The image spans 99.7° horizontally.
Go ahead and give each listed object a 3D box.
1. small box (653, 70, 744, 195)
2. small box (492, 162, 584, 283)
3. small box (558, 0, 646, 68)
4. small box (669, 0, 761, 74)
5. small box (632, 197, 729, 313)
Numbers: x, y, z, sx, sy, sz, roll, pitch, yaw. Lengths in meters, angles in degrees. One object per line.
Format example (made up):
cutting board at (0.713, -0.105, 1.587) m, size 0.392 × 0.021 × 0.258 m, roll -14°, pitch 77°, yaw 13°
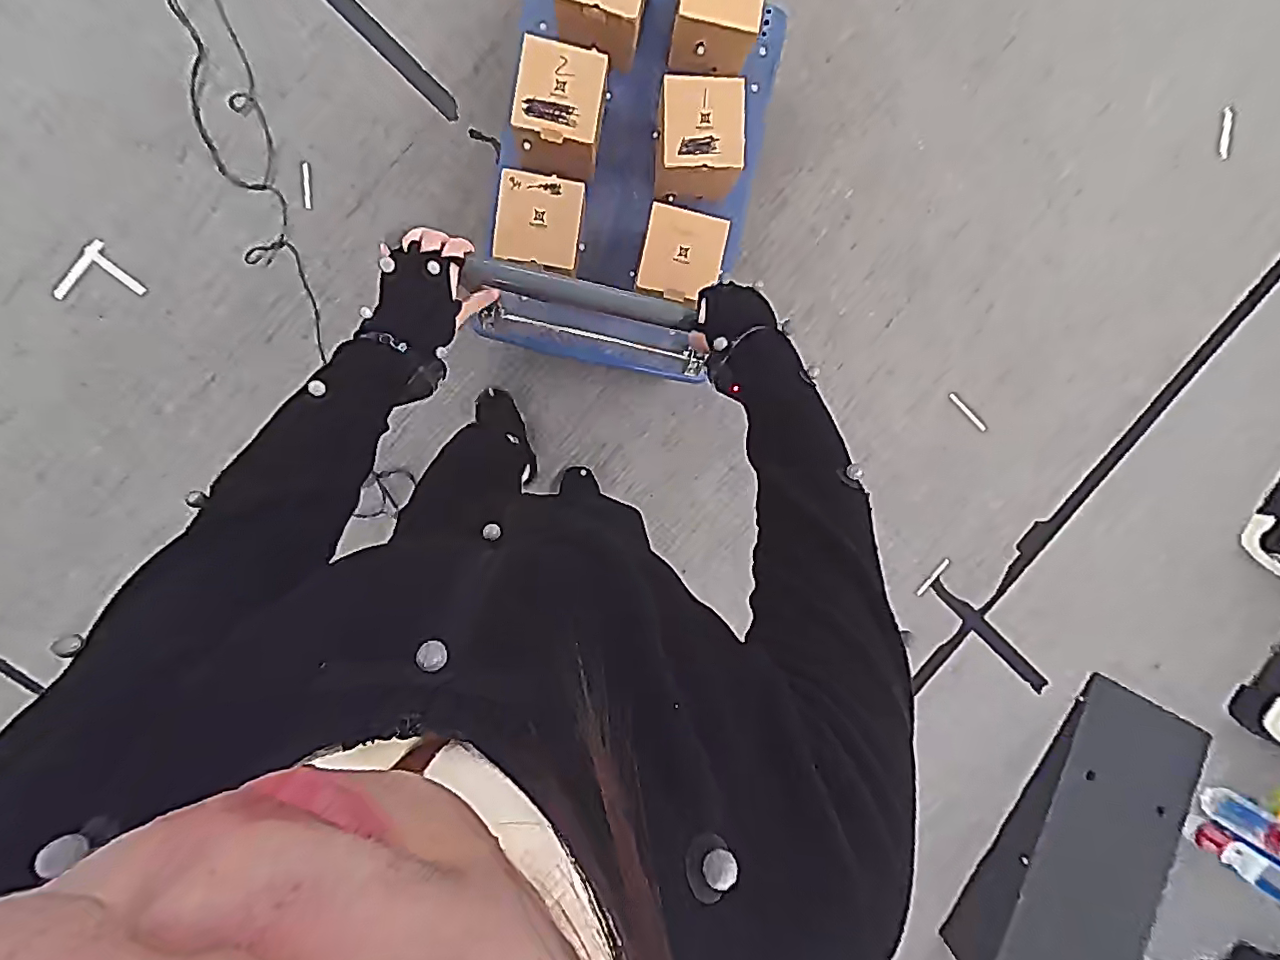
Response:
small box at (0.121, -0.737, 1.166) m, size 0.168 × 0.176 × 0.179 m, roll -1°, pitch 96°, yaw -5°
small box at (-0.211, -0.536, 1.155) m, size 0.168 × 0.176 × 0.179 m, roll 8°, pitch 96°, yaw -7°
small box at (-0.074, -1.014, 1.117) m, size 0.168 × 0.176 × 0.179 m, roll 13°, pitch 95°, yaw -6°
small box at (0.160, -1.005, 1.142) m, size 0.168 × 0.176 × 0.179 m, roll 8°, pitch 95°, yaw -6°
small box at (0.080, -0.483, 1.191) m, size 0.168 × 0.176 × 0.179 m, roll 12°, pitch 94°, yaw -7°
